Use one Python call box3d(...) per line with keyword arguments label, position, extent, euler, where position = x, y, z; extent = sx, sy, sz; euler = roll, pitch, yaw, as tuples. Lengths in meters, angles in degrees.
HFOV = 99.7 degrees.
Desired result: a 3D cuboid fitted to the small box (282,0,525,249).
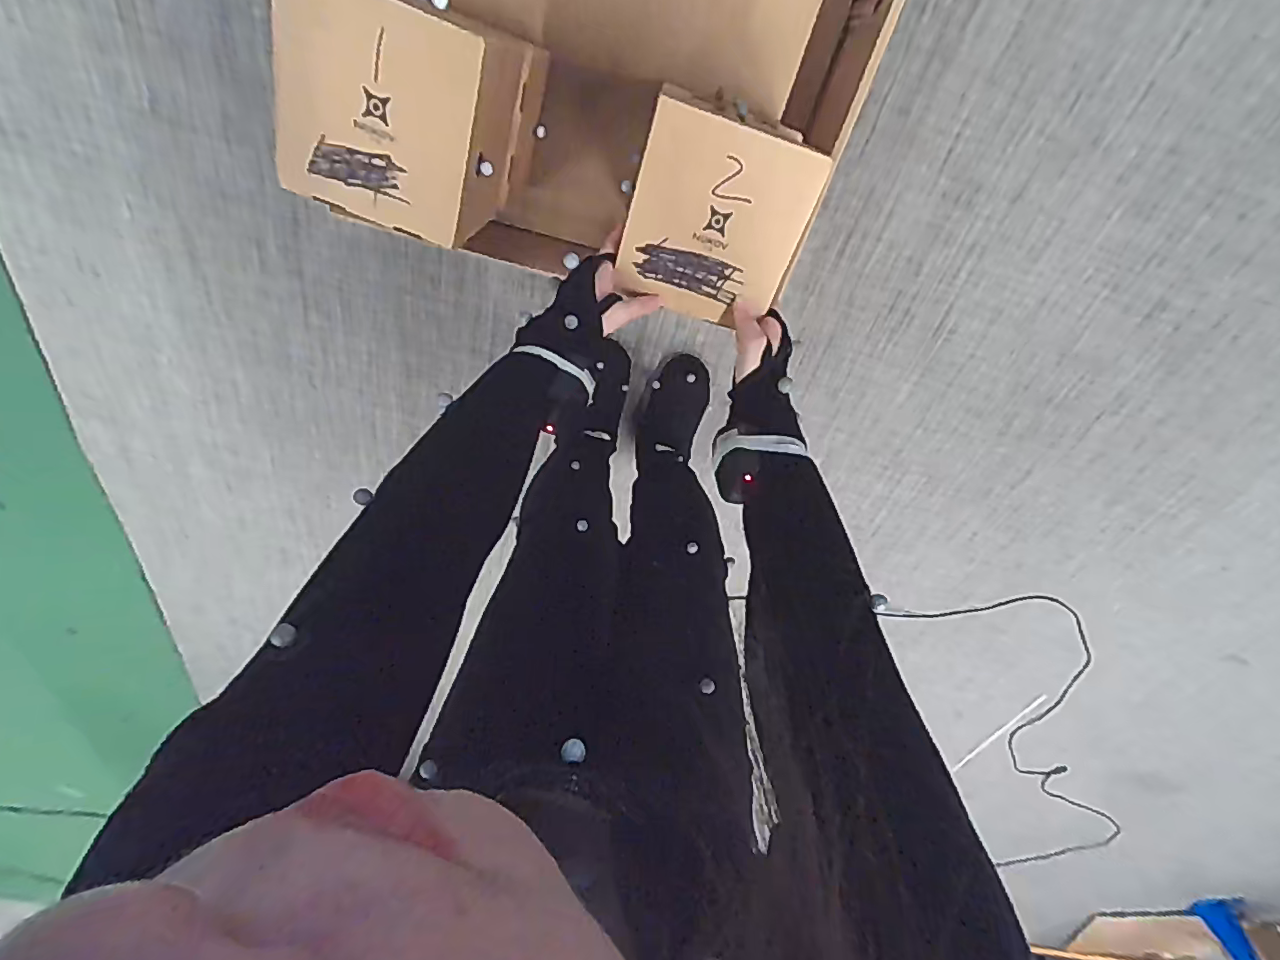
box3d(label="small box", position=(-0.223, -0.364, 0.537), extent=(0.168, 0.176, 0.179), euler=(17, 125, -11))
